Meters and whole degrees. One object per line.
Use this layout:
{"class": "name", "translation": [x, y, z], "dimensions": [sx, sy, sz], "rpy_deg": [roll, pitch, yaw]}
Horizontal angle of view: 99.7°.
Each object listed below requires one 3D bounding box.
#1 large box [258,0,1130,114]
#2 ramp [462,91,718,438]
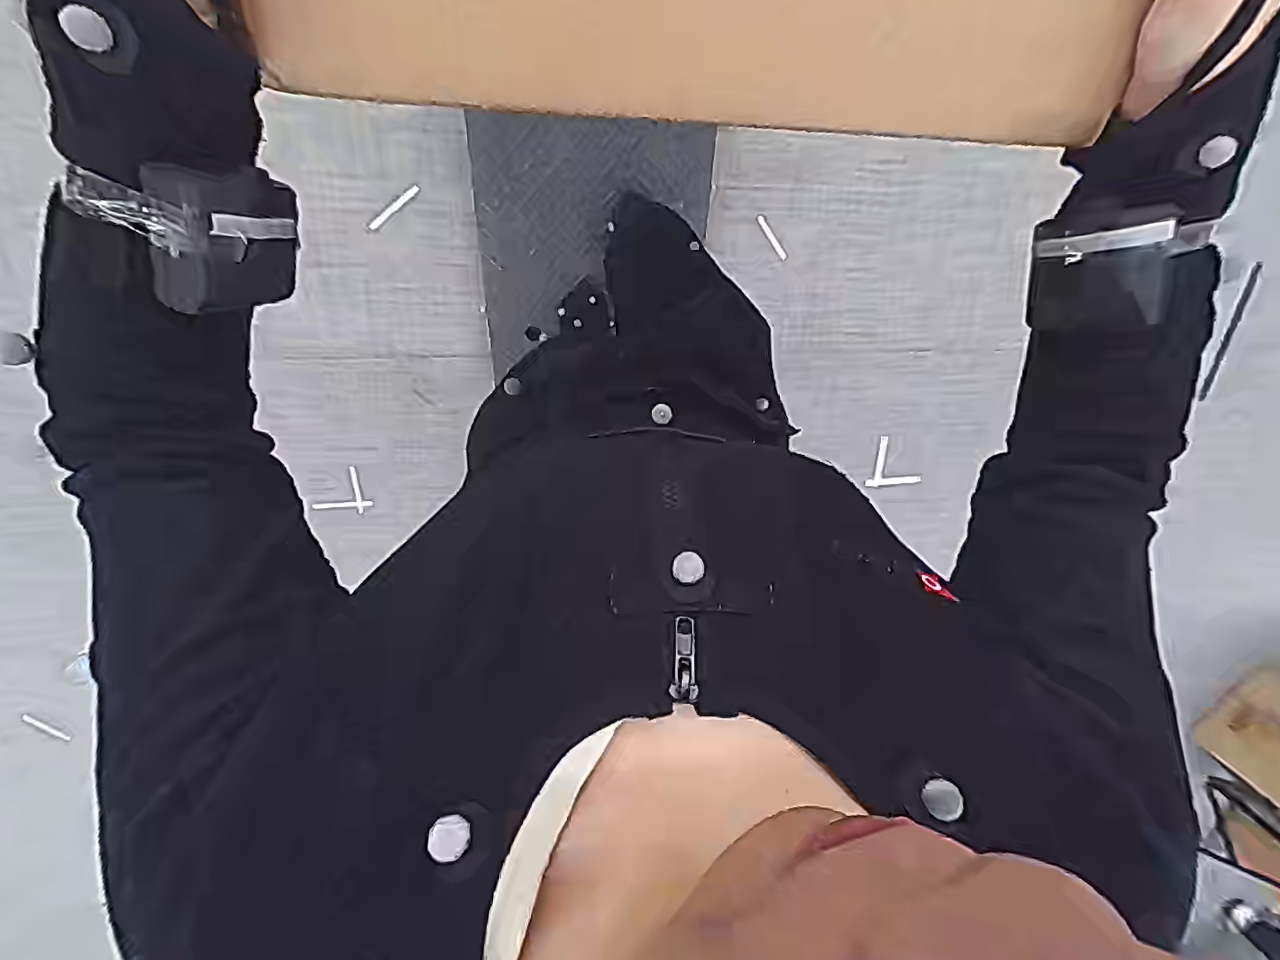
{"class": "large box", "translation": [0.025, -0.400, 0.282], "dimensions": [0.408, 0.320, 0.320], "rpy_deg": [-1, 130, -7]}
{"class": "ramp", "translation": [-0.099, -0.530, 1.165], "dimensions": [0.509, 0.206, 0.991], "rpy_deg": [-3, 115, -7]}
